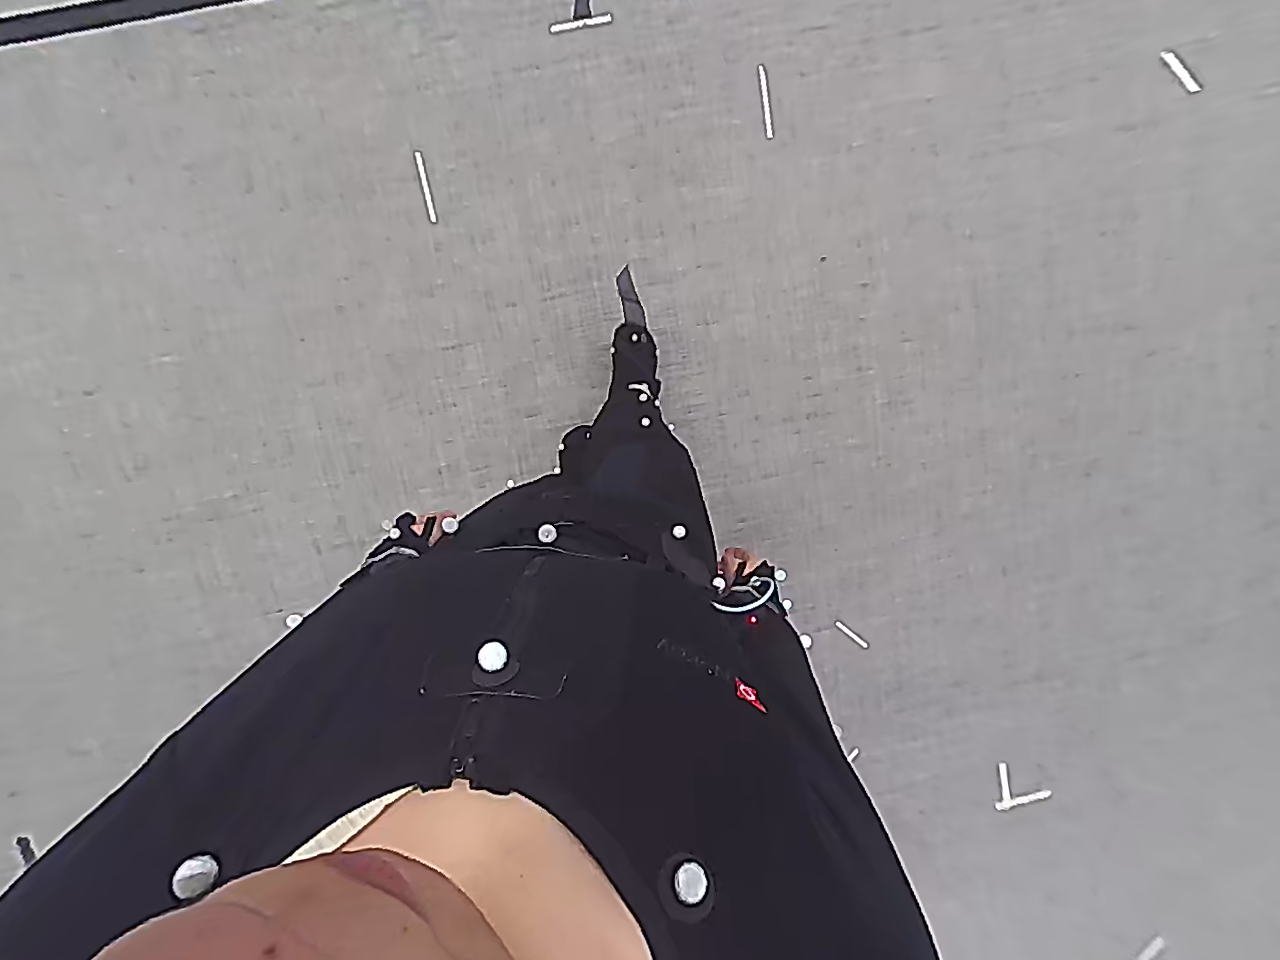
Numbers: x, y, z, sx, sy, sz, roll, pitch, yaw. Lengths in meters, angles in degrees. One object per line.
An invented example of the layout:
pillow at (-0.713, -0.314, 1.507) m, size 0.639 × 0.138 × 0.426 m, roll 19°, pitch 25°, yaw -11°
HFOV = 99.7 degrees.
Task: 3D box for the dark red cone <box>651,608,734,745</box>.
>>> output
dark red cone at (0.148, 0.471, 1.267) m, size 0.201 × 0.394 × 0.202 m, roll -12°, pitch 101°, yaw -1°
